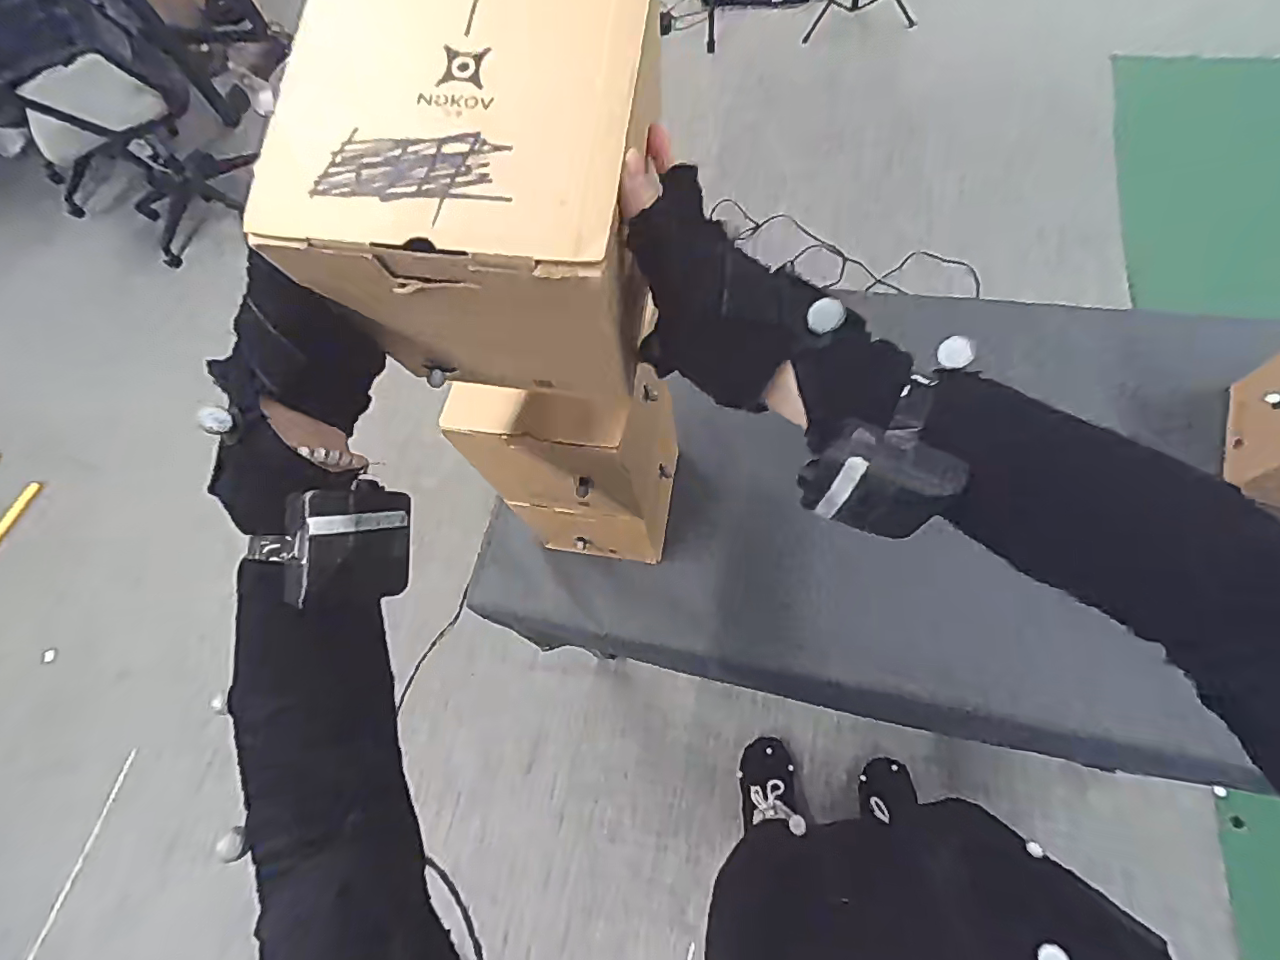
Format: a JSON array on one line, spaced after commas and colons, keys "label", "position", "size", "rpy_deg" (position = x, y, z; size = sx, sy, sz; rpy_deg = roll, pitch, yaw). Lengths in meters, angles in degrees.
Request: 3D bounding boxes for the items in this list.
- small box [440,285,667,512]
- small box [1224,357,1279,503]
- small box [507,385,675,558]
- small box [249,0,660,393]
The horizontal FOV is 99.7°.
[{"label": "small box", "position": [-0.069, -0.081, 0.555], "size": [0.168, 0.176, 0.179], "rpy_deg": [9, 67, 10]}, {"label": "small box", "position": [0.815, -0.062, 0.596], "size": [0.179, 0.176, 0.168], "rpy_deg": [20, 71, 16]}, {"label": "small box", "position": [-0.049, -0.014, 0.702], "size": [0.168, 0.176, 0.179], "rpy_deg": [7, 67, 11]}, {"label": "small box", "position": [-0.080, -0.167, 0.331], "size": [0.168, 0.176, 0.179], "rpy_deg": [8, 79, 4]}]
